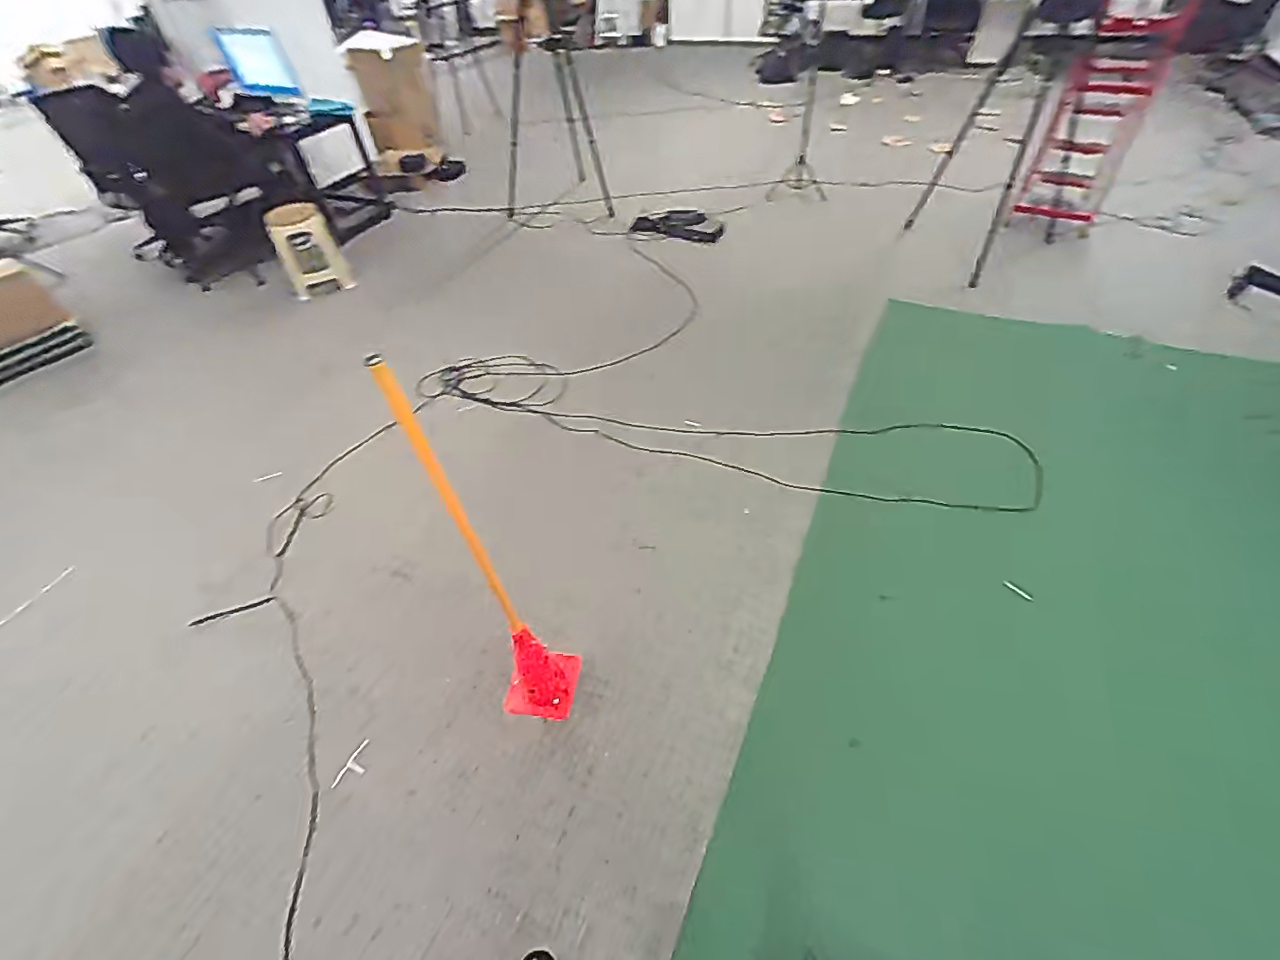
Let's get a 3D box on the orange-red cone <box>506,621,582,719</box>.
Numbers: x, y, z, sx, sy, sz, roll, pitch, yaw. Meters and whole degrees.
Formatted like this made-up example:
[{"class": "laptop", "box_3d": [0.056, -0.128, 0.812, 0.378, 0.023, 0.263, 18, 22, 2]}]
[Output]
[{"class": "orange-red cone", "box_3d": [-0.299, 0.500, 1.528, 0.198, 0.360, 0.199, 6, 47, 9]}]
